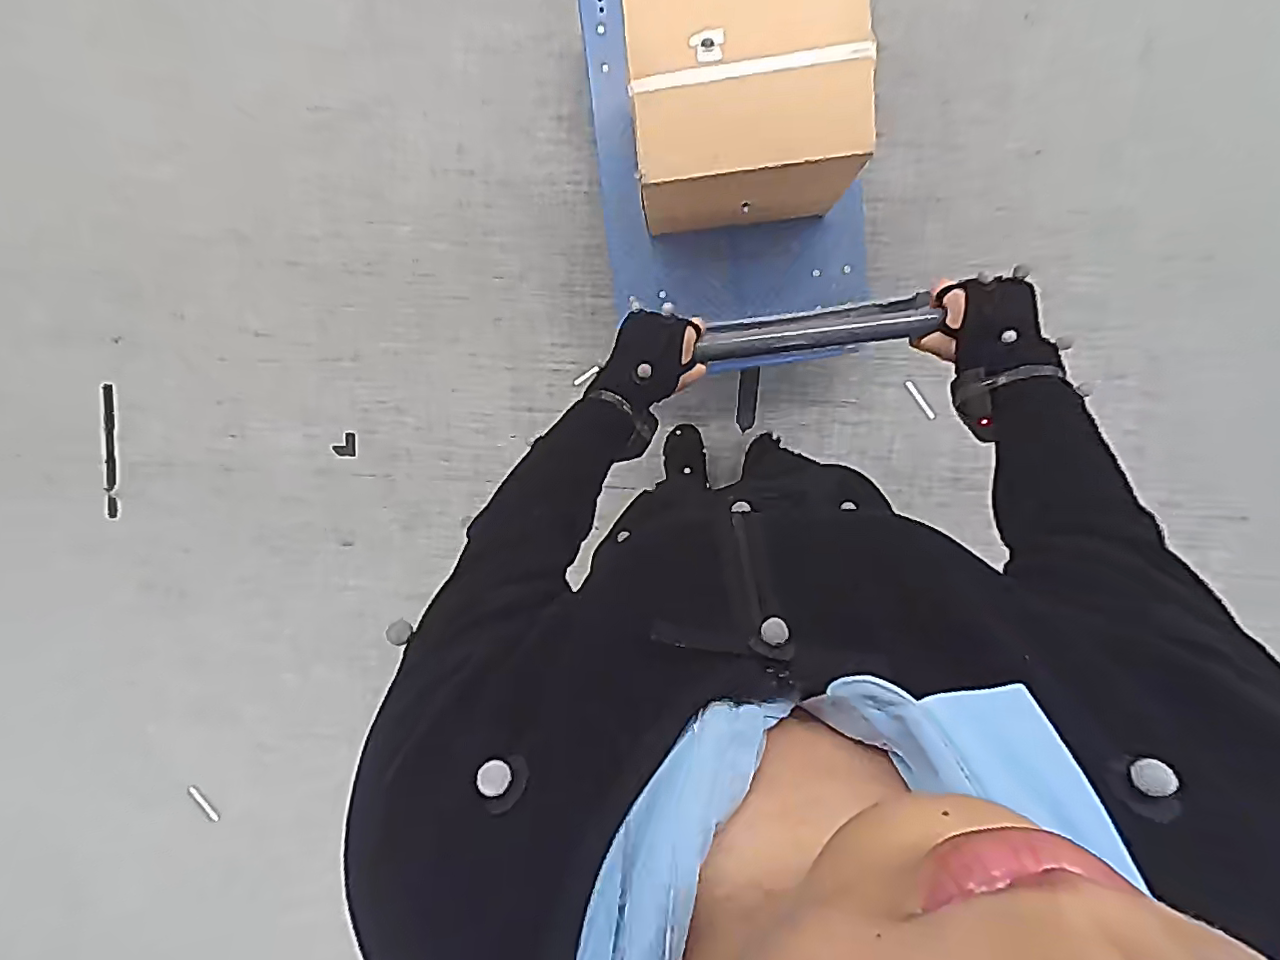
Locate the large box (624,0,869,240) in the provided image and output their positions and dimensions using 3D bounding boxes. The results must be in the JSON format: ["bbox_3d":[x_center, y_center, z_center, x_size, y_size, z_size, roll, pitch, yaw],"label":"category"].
[{"bbox_3d":[0.199,-0.709,1.084,0.408,0.320,0.320,-6,97,6],"label":"large box"}]
